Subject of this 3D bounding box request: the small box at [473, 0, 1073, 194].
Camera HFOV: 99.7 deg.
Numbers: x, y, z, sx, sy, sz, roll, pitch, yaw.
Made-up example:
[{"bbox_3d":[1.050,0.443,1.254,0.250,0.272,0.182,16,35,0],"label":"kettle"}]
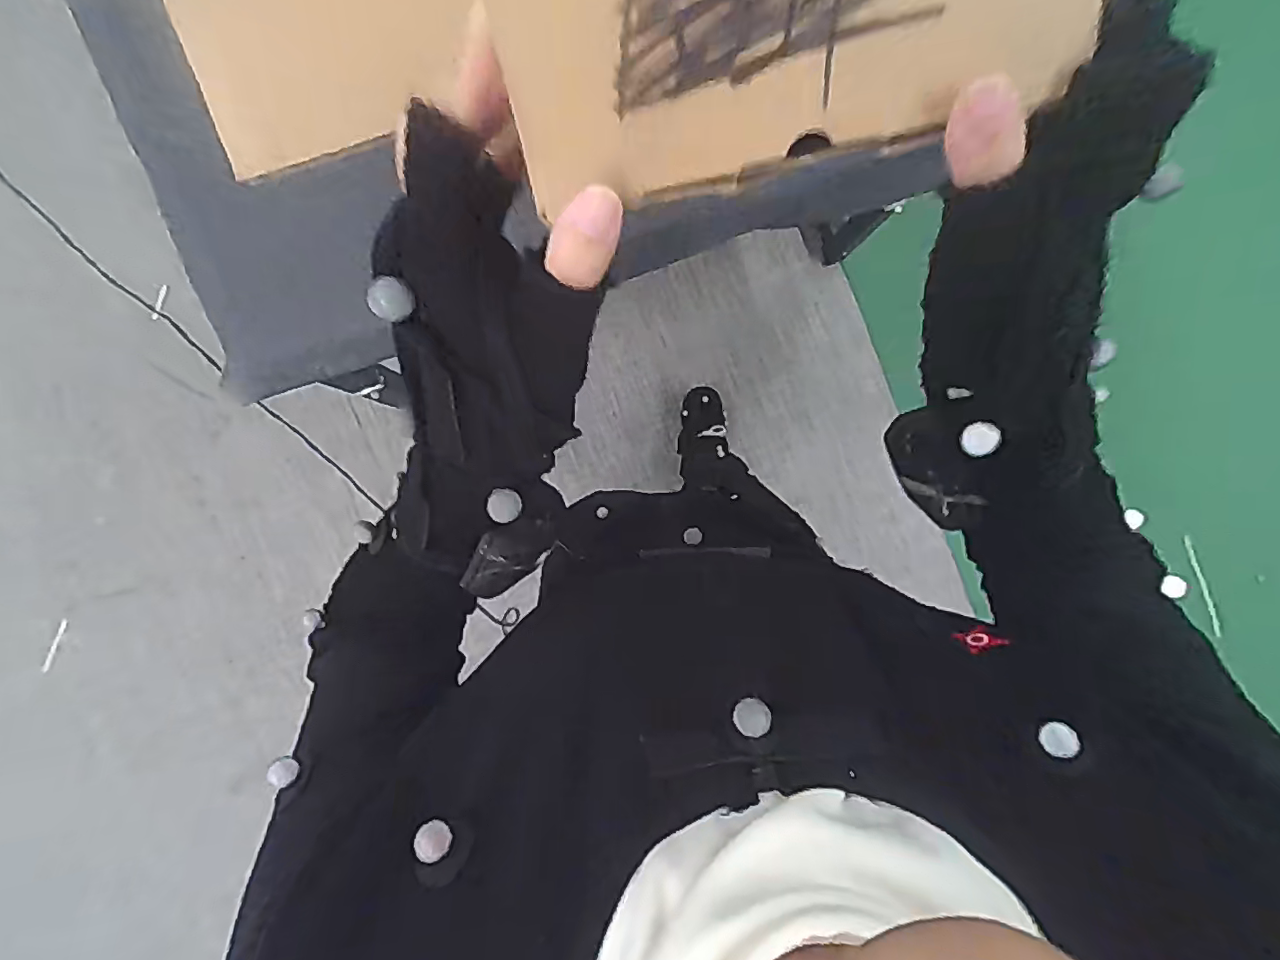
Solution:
[{"bbox_3d":[0.021,-0.216,0.185,0.168,0.176,0.179,-13,121,0],"label":"small box"}]
